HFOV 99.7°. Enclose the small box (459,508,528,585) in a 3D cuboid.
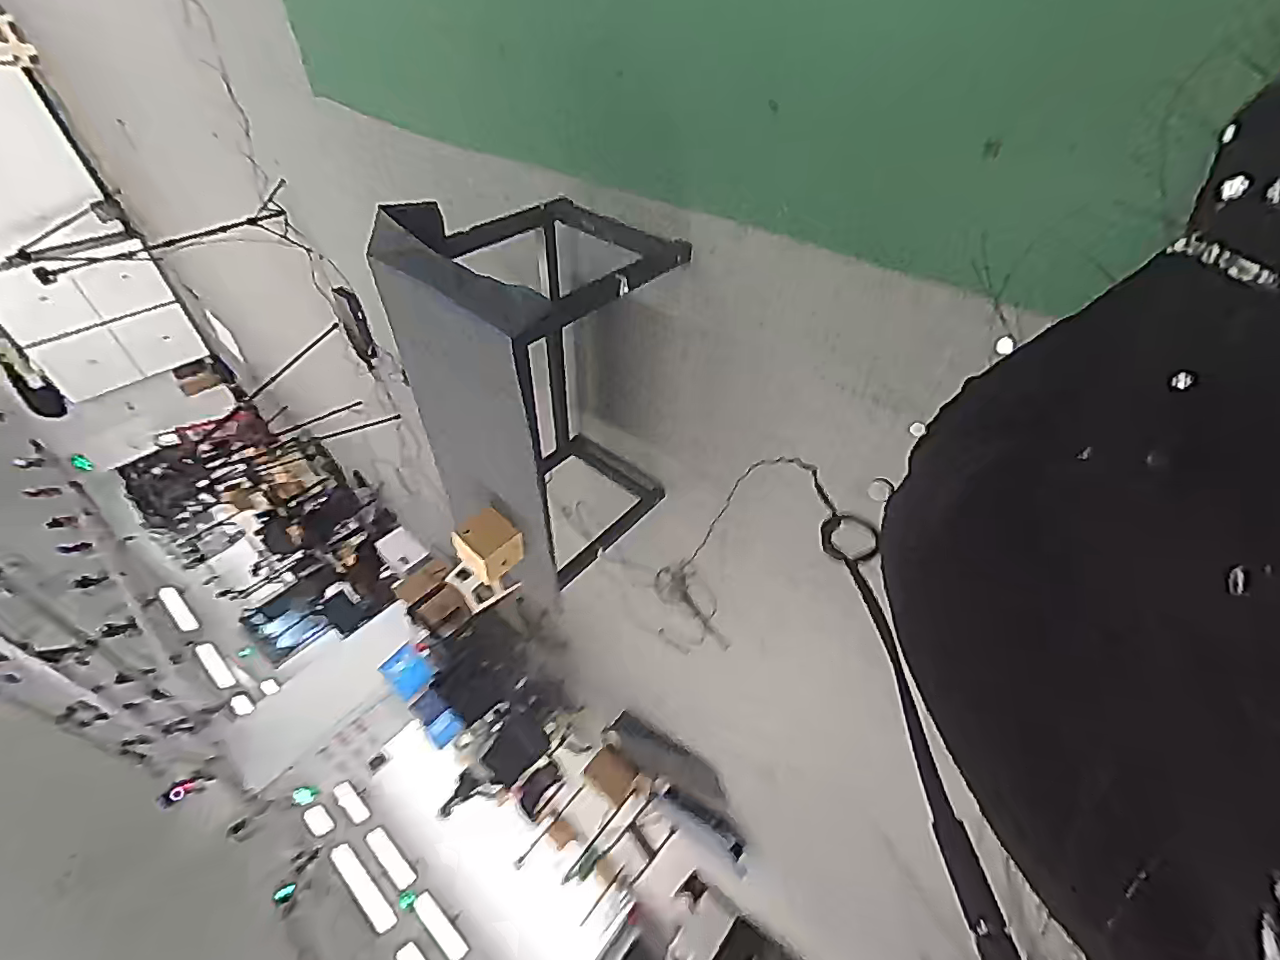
[{"bbox_3d":[-0.514,0.233,1.928,0.179,0.176,0.168,37,145,23],"label":"small box"}]
